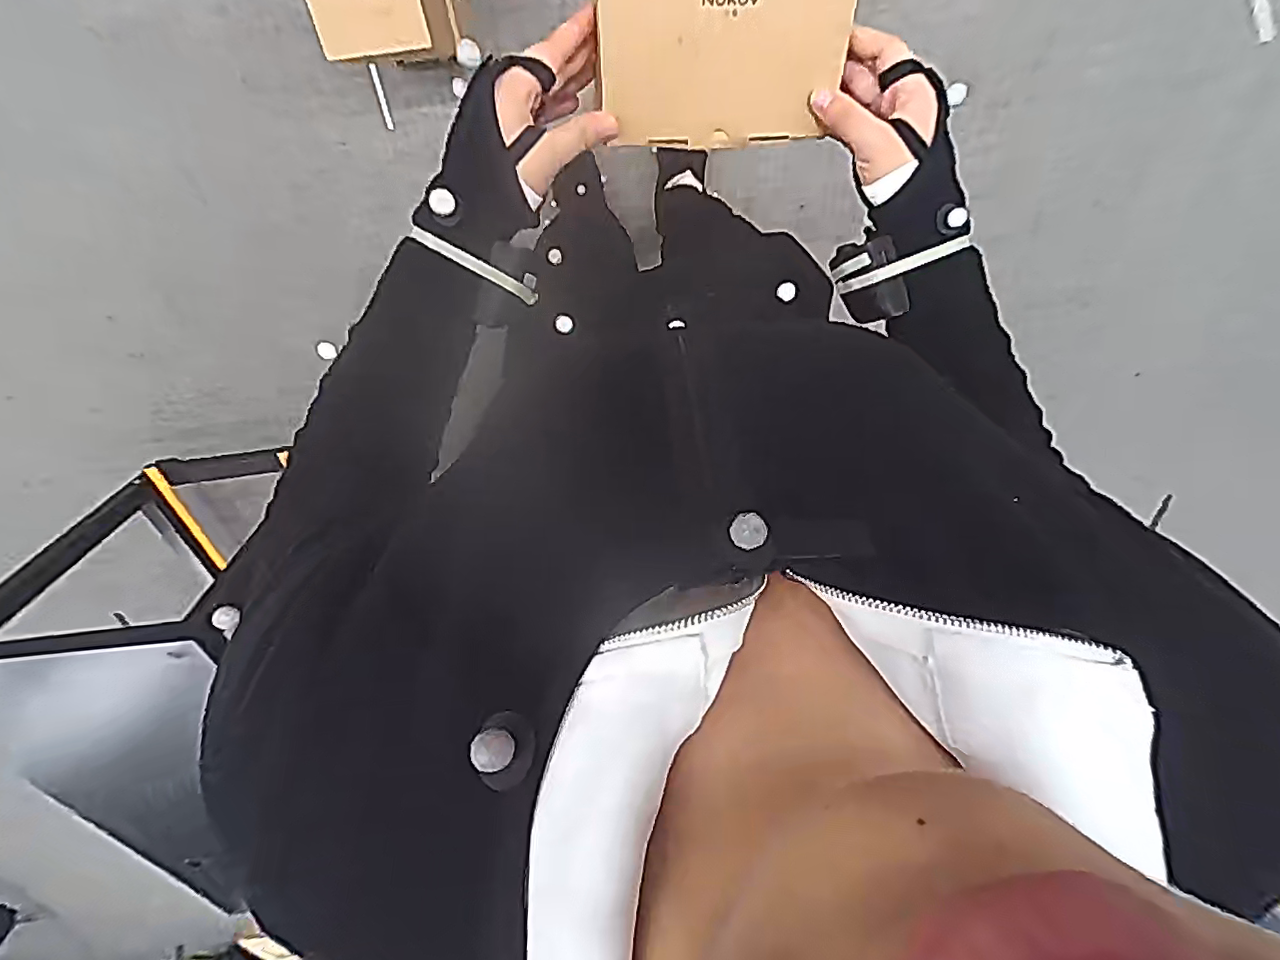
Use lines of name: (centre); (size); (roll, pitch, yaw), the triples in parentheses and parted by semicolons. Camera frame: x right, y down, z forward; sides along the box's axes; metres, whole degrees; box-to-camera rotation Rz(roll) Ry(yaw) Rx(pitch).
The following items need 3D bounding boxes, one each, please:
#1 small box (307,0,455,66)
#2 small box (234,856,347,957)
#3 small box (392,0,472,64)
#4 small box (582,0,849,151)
small box: (-0.405, -0.761, 0.835); (0.168, 0.176, 0.179); (-6, 127, 2)
small box: (-0.917, 1.136, 1.442); (0.168, 0.176, 0.179); (-6, 124, 0)
small box: (-0.412, -0.859, 0.965); (0.179, 0.176, 0.168); (-7, 125, 2)
small box: (0.044, -0.361, 0.393); (0.168, 0.176, 0.179); (-5, 134, -5)
